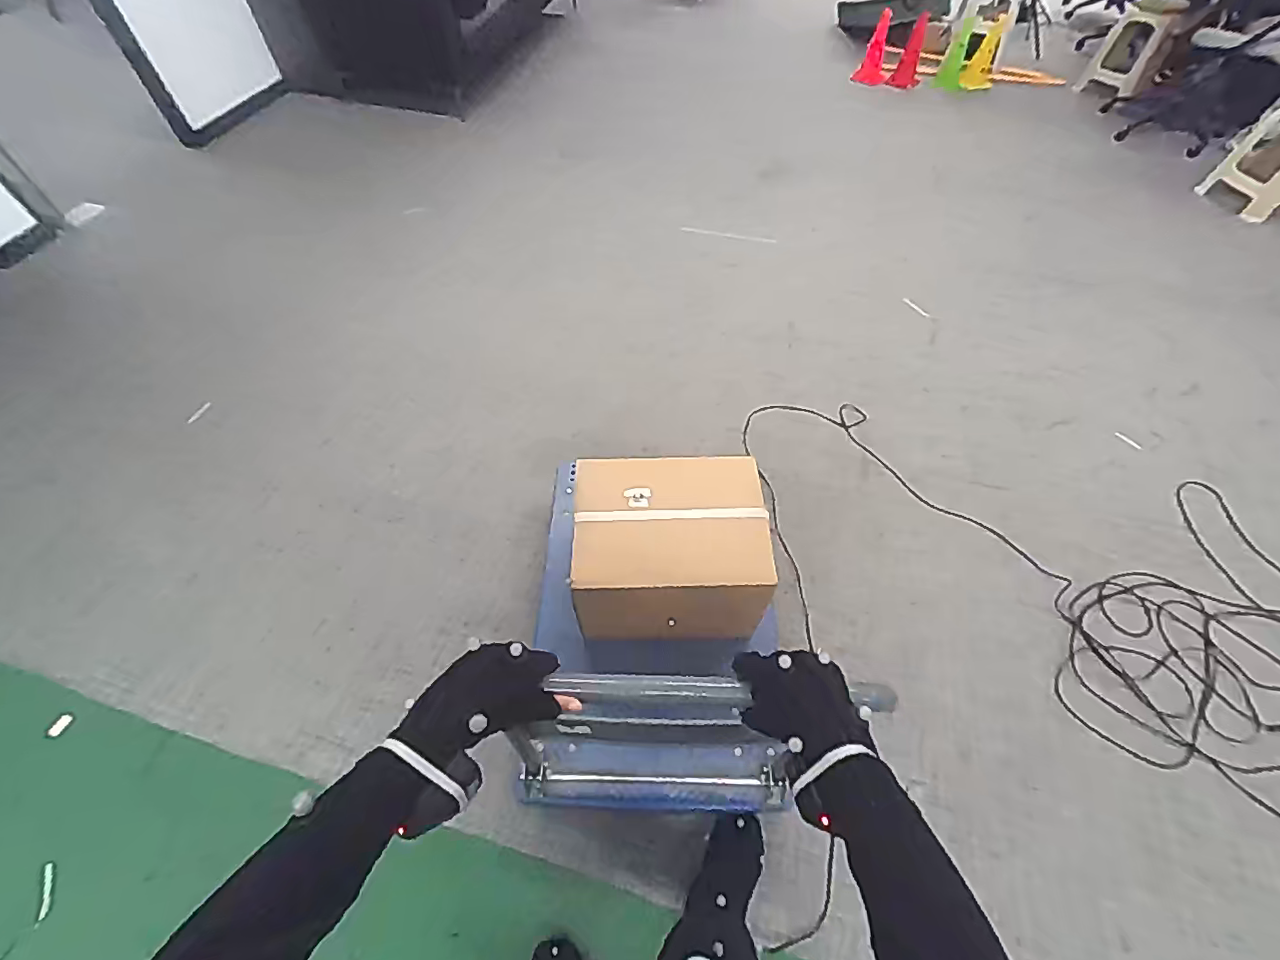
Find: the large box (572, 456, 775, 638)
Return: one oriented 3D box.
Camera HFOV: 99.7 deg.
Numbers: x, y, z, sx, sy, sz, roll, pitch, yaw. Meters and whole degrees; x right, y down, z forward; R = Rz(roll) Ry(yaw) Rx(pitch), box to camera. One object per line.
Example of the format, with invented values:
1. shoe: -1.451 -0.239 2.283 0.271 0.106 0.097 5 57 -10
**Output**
1. large box: 0.062 0.164 1.254 0.408 0.320 0.320 -2 55 -1
